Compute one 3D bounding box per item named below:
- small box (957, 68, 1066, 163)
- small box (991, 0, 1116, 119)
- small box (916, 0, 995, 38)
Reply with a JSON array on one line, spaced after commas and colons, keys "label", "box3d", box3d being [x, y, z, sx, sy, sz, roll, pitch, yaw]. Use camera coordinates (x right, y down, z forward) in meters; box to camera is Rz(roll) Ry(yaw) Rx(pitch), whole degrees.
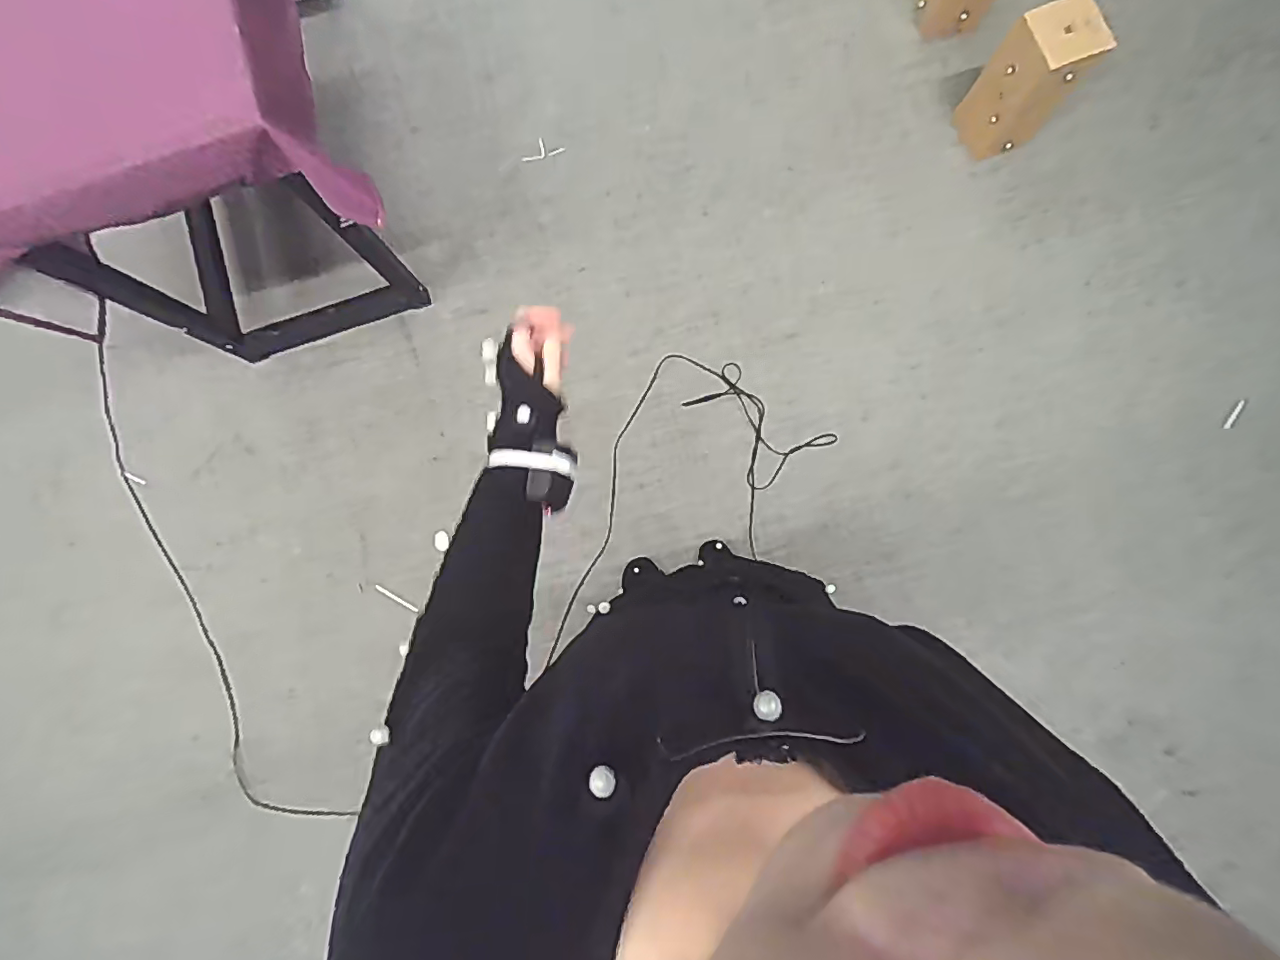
[{"label": "small box", "box3d": [1.054, -1.062, 1.553, 0.168, 0.176, 0.179, -20, 83, 0]}, {"label": "small box", "box3d": [1.044, -1.076, 1.389, 0.179, 0.176, 0.168, -19, 84, 0]}, {"label": "small box", "box3d": [0.949, -1.459, 1.604, 0.168, 0.176, 0.179, -7, 83, 1]}]
